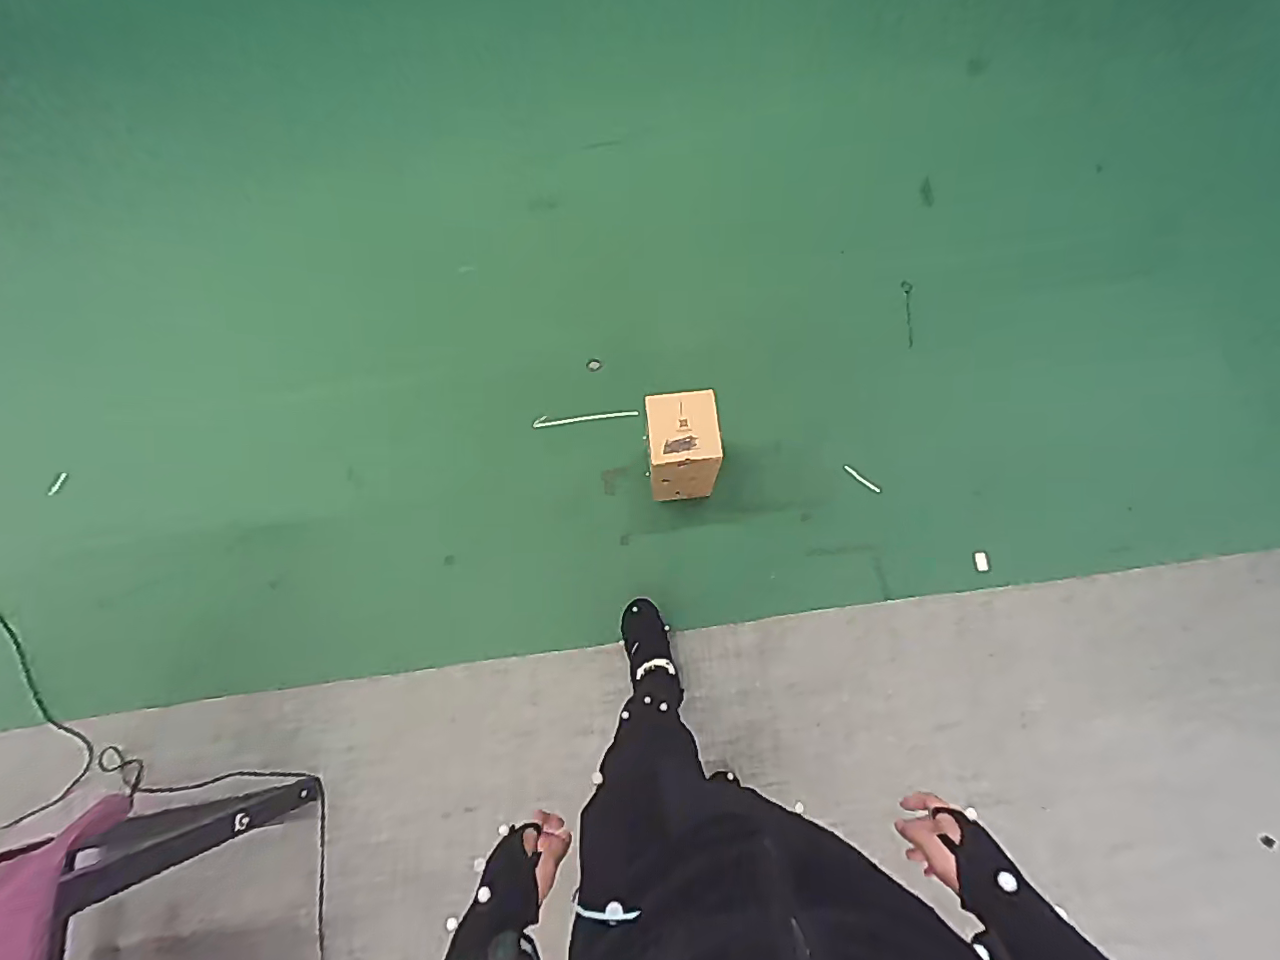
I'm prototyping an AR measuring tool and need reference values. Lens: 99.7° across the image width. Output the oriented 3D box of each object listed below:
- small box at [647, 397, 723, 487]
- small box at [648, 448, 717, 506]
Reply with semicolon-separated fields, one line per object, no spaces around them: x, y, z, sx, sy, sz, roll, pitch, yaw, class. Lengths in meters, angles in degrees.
0.106;-0.087;1.336;0.168;0.176;0.179;-5;72;0;small box
0.112;-0.039;1.493;0.168;0.176;0.179;-6;73;0;small box
